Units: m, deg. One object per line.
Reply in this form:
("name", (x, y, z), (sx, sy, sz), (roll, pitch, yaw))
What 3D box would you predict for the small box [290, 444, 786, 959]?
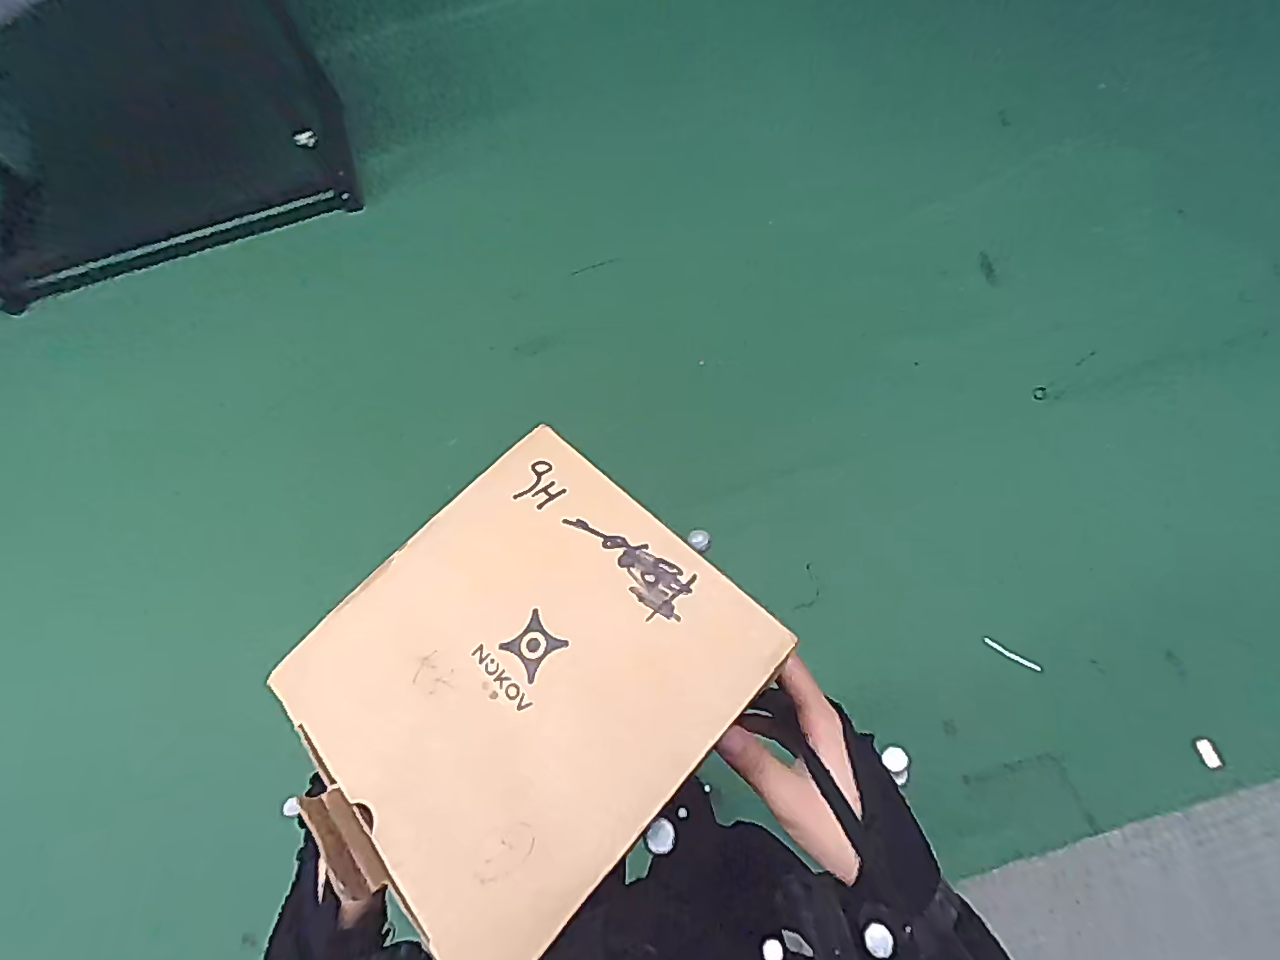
("small box", (-0.038, 0.120, 0.311), (0.168, 0.176, 0.179), (40, 76, 23))
